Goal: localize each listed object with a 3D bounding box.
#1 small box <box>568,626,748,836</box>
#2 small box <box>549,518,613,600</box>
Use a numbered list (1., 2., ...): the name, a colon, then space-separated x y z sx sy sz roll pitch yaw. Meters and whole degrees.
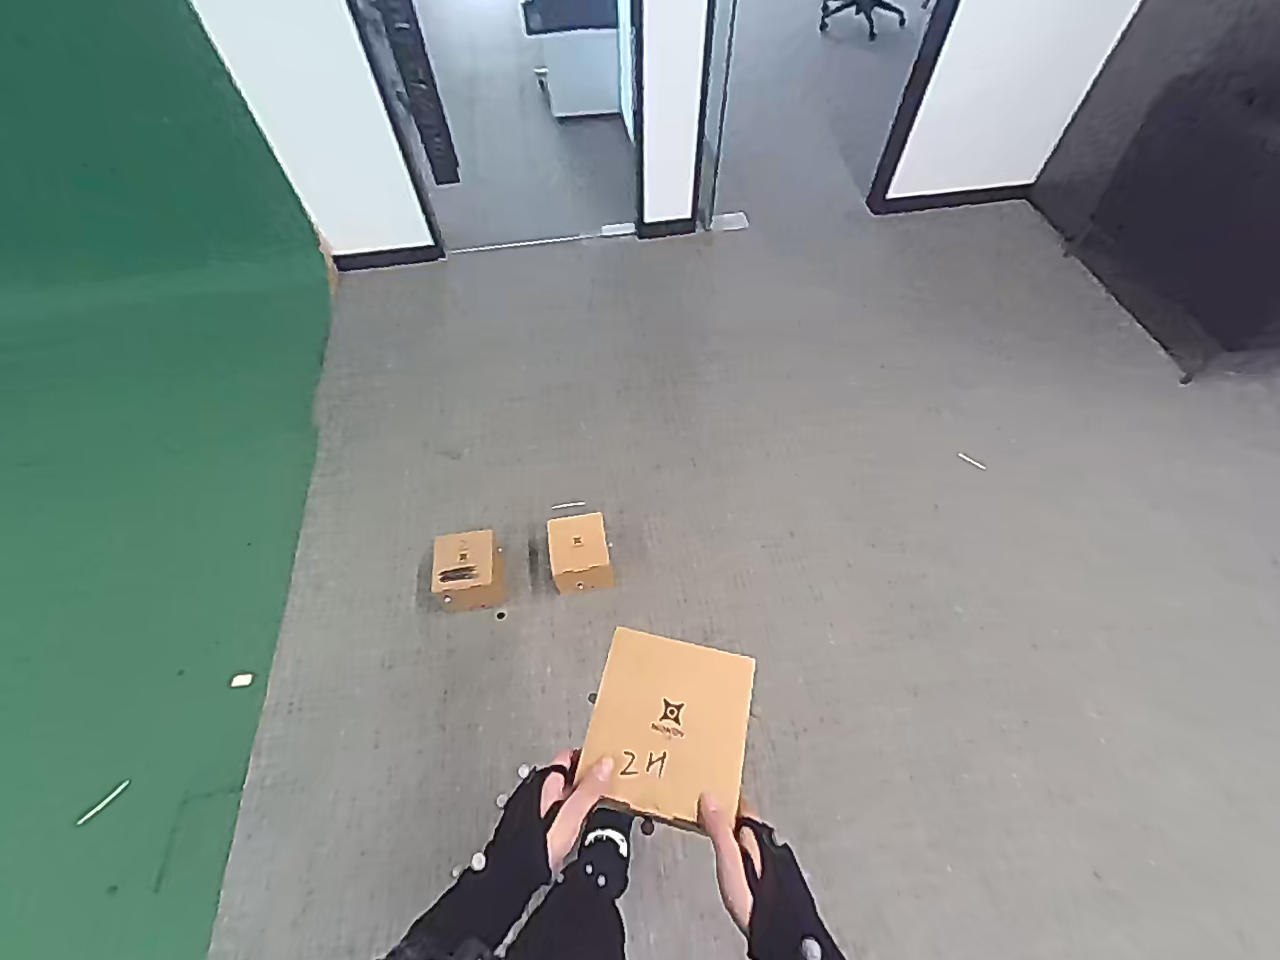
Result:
1. small box: 0.026 0.302 0.648 0.168 0.176 0.179 11 56 10
2. small box: -0.176 0.240 1.628 0.168 0.176 0.179 -9 58 -5
